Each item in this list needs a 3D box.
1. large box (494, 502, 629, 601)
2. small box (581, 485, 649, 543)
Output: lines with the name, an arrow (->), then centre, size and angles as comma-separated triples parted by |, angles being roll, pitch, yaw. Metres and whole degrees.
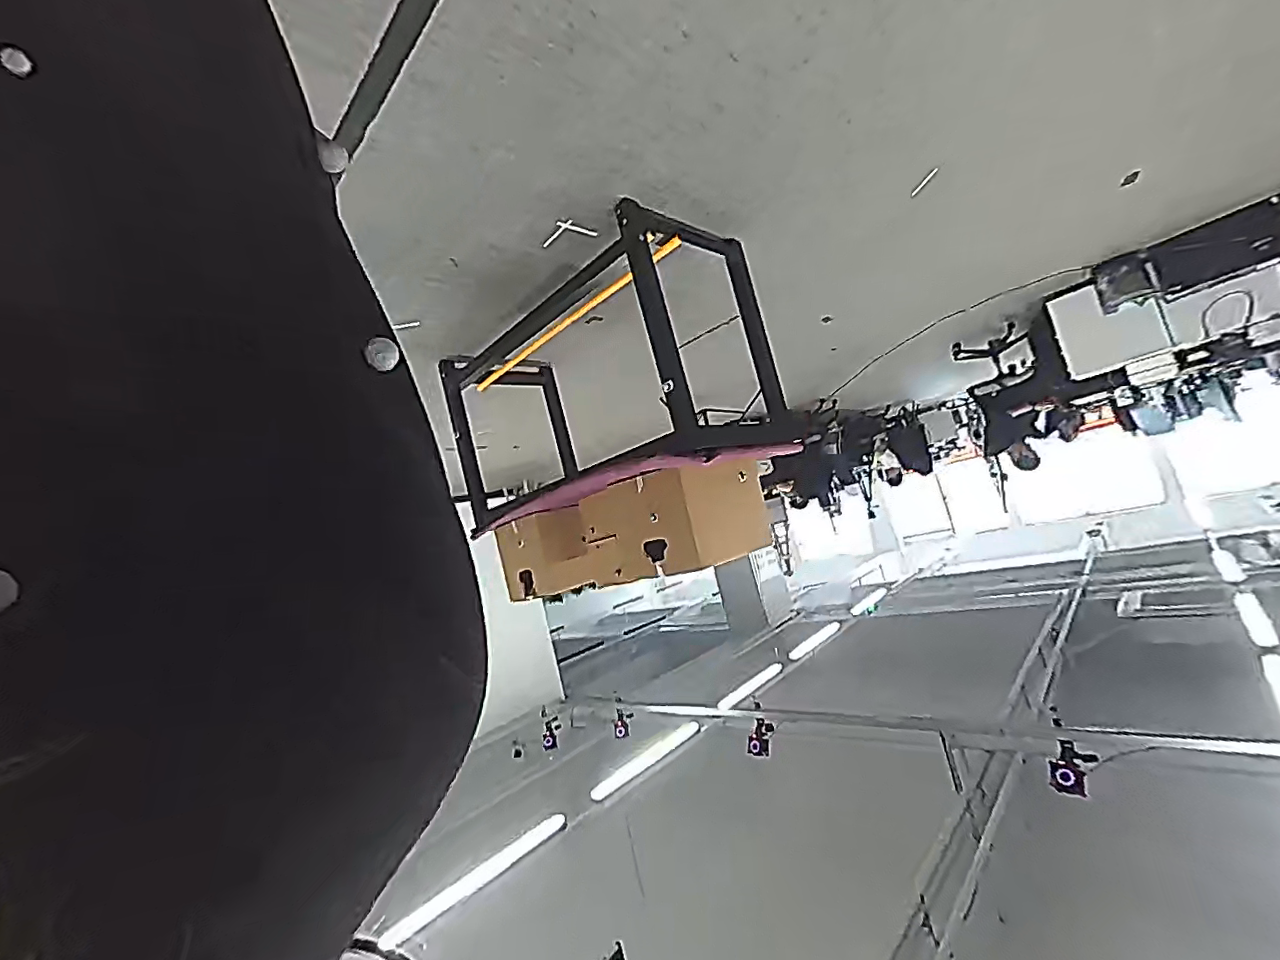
large box -> -0.321, 0.275, 2.212 | 0.320, 0.320, 0.408 | -19, 174, 43
small box -> -0.096, 0.122, 1.960 | 0.168, 0.176, 0.179 | -9, 172, -46
